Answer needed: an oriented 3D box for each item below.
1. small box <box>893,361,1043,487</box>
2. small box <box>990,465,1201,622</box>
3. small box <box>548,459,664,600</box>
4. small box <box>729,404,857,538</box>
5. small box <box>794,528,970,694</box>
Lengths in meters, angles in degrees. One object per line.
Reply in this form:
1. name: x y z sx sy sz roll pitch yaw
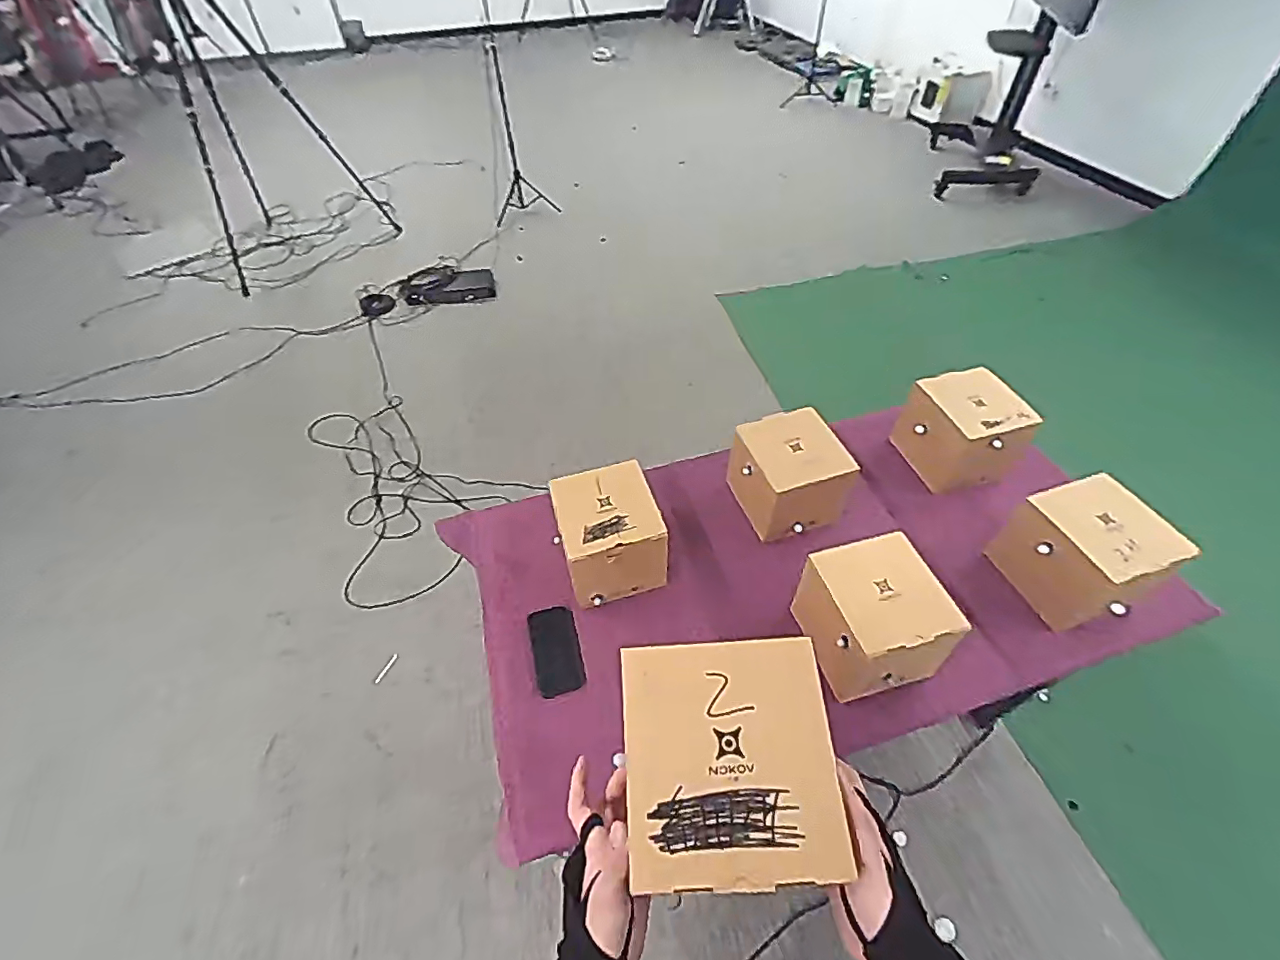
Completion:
1. small box: 0.654 -0.114 1.108 0.168 0.176 0.179 -14 50 -8
2. small box: 0.743 0.108 0.910 0.168 0.176 0.179 -16 51 -9
3. small box: -0.057 0.095 0.970 0.168 0.176 0.179 -15 50 -10
4. small box: 0.282 -0.016 1.048 0.168 0.176 0.179 -15 51 -9
5. small box: 0.362 0.207 0.853 0.168 0.176 0.179 -13 49 -8
